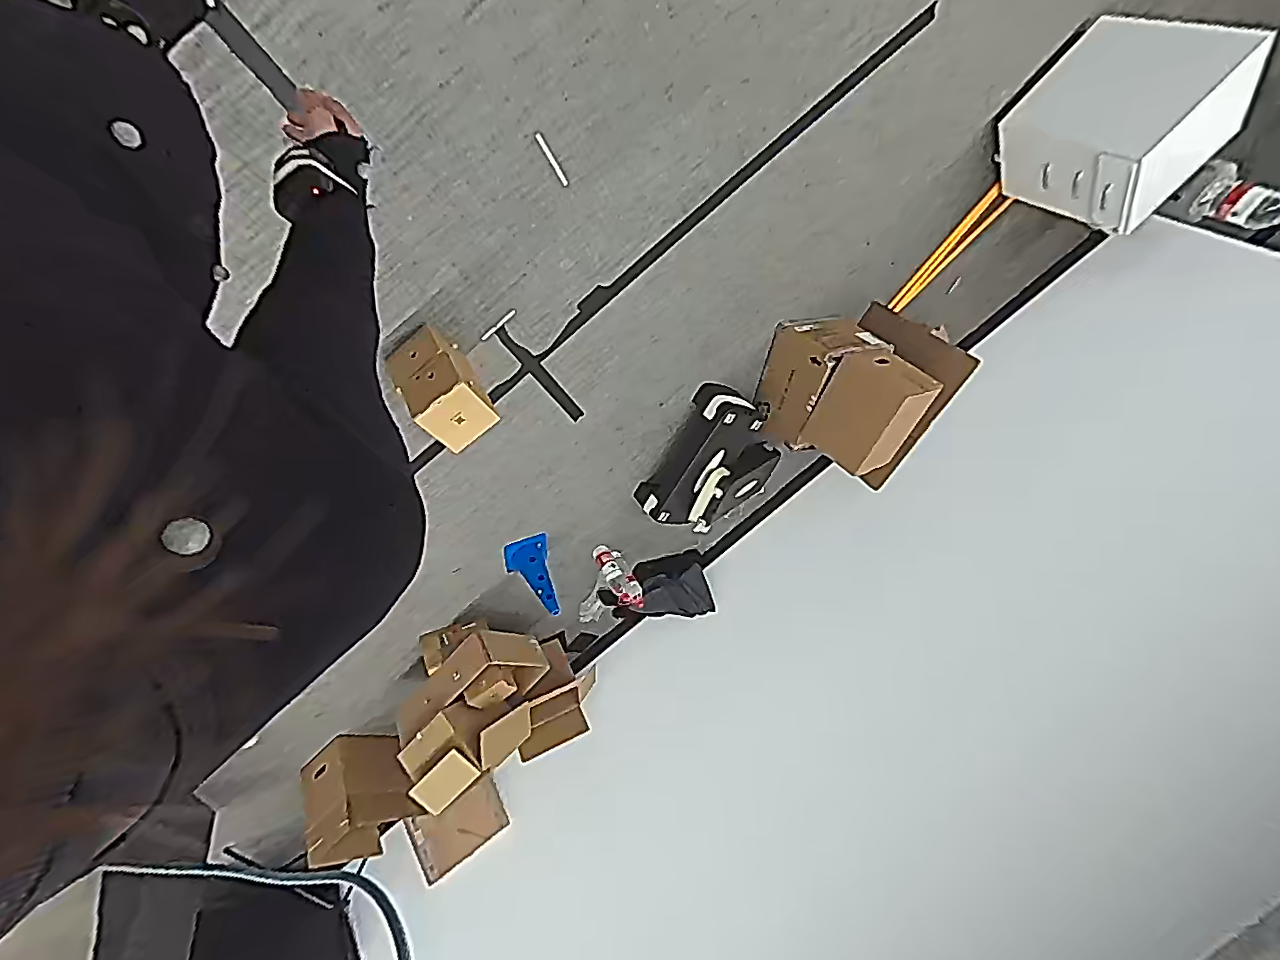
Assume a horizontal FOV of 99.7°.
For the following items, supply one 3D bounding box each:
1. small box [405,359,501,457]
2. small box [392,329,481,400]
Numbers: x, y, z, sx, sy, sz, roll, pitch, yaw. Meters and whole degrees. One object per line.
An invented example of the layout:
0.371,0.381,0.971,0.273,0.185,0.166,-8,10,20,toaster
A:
-0.526,-0.205,1.518,0.168,0.176,0.179,-38,141,1,small box
-0.612,-0.311,1.609,0.179,0.176,0.168,-42,142,4,small box
